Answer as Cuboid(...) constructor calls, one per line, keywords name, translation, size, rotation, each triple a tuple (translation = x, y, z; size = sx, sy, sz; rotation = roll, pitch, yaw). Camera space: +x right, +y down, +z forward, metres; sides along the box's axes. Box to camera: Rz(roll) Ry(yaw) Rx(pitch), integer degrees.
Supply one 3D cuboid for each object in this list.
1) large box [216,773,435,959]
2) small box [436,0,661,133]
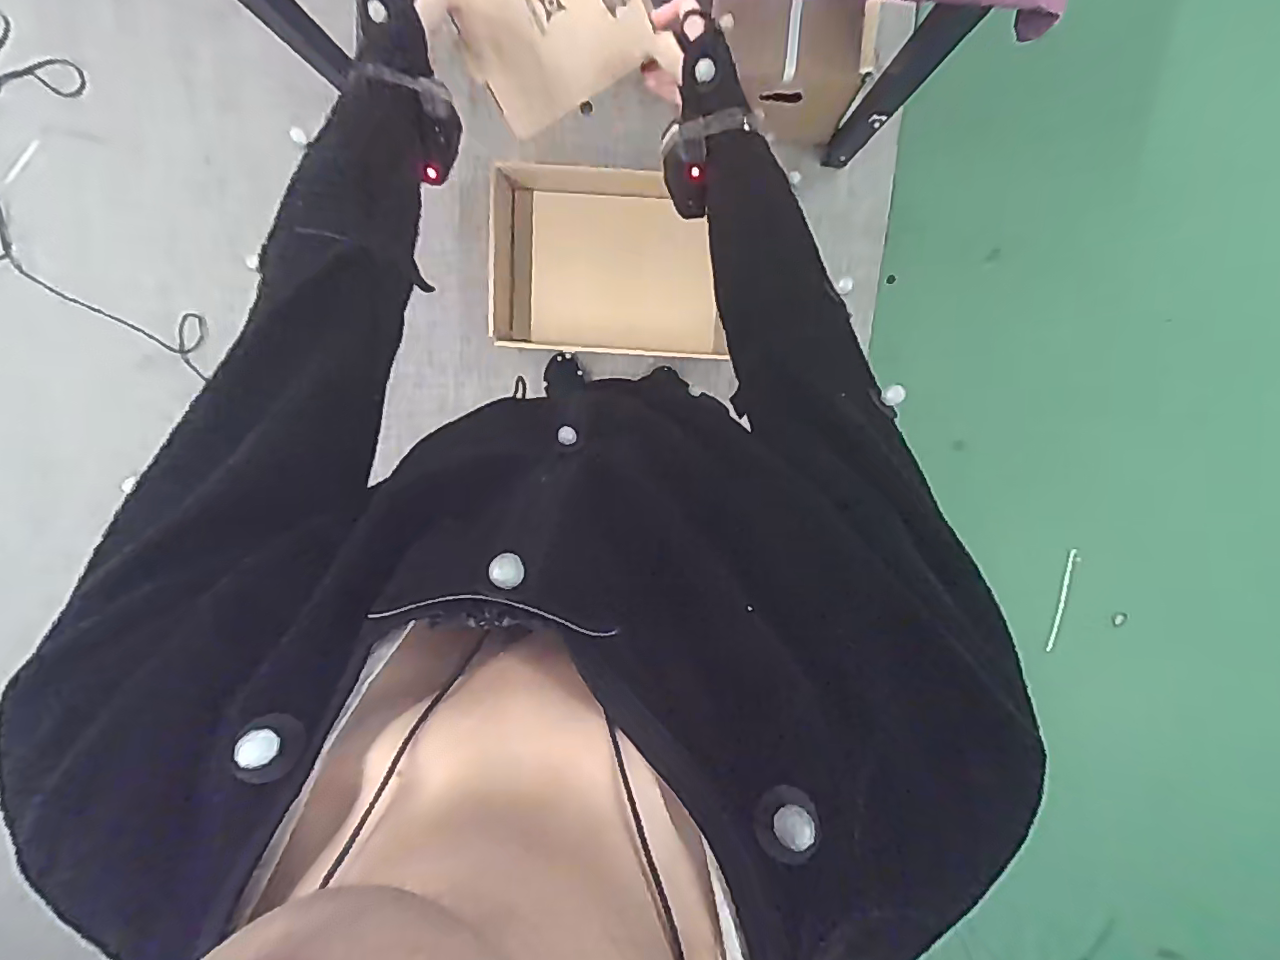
Cuboid(name="large box", translation=(-0.904, 1.178, 1.605), size=(0.408, 0.320, 0.320), rotation=(34, 99, -4))
Cuboid(name="small box", translation=(-0.090, -0.501, 0.565), size=(0.179, 0.176, 0.168), rotation=(-18, 126, 20))
